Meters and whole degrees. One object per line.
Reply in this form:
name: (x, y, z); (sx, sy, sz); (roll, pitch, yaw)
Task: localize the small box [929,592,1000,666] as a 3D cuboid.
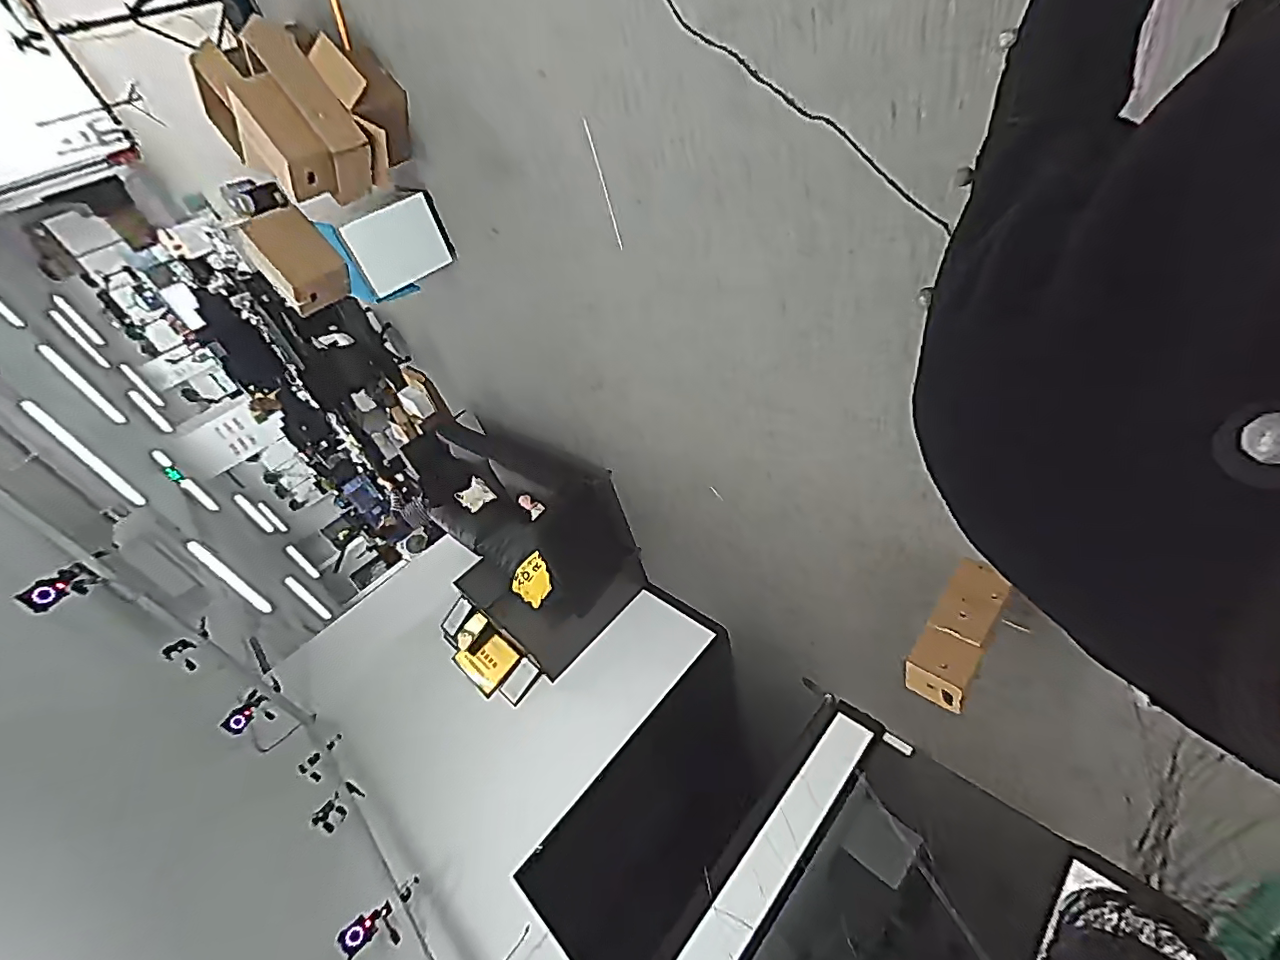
small box: (1.118, 0.520, 1.868); (0.168, 0.176, 0.179); (23, 144, 43)

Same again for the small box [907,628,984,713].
small box: (1.015, 0.626, 1.796); (0.179, 0.176, 0.168); (23, 146, 43)
